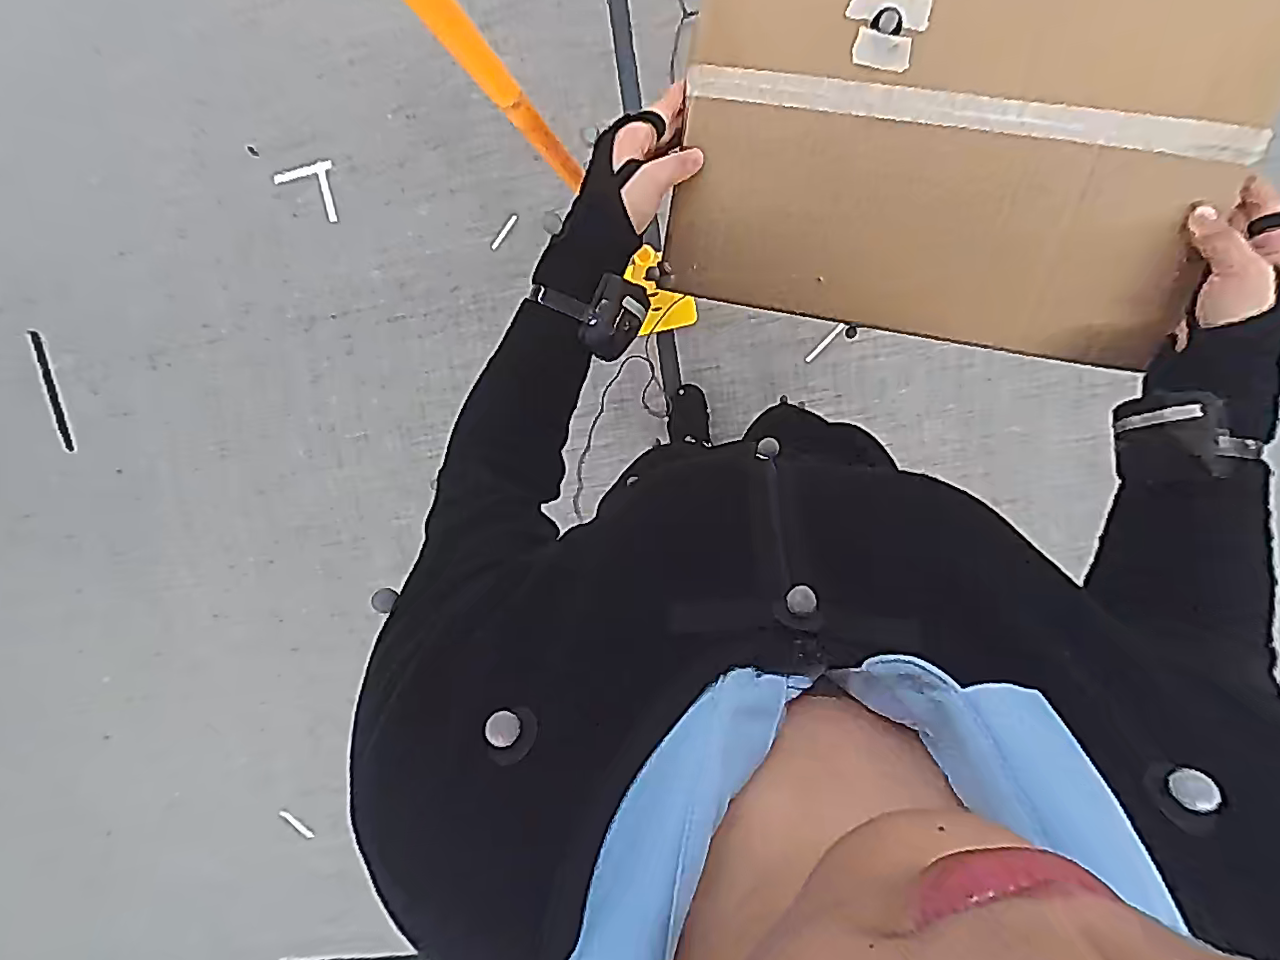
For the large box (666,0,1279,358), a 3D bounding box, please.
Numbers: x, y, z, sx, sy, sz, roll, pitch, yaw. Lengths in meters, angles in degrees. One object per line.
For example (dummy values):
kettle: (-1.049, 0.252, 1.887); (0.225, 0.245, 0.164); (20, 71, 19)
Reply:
large box: (0.266, -0.324, 0.558); (0.408, 0.320, 0.320); (12, 109, 7)
